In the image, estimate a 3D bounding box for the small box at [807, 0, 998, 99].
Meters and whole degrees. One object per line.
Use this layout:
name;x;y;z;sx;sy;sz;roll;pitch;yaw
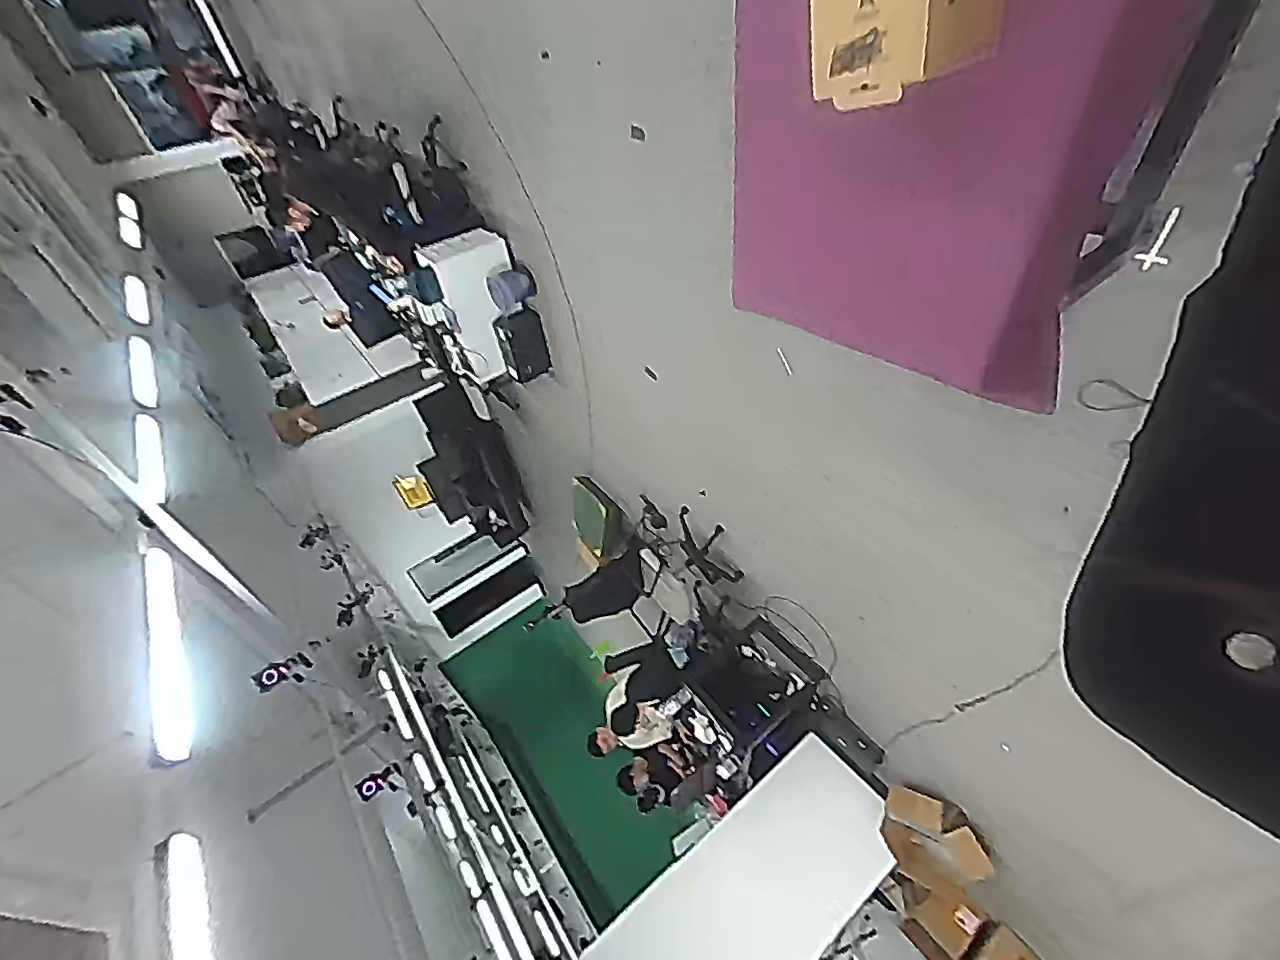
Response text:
small box;0.334;-0.616;0.686;0.168;0.176;0.179;32;145;47
